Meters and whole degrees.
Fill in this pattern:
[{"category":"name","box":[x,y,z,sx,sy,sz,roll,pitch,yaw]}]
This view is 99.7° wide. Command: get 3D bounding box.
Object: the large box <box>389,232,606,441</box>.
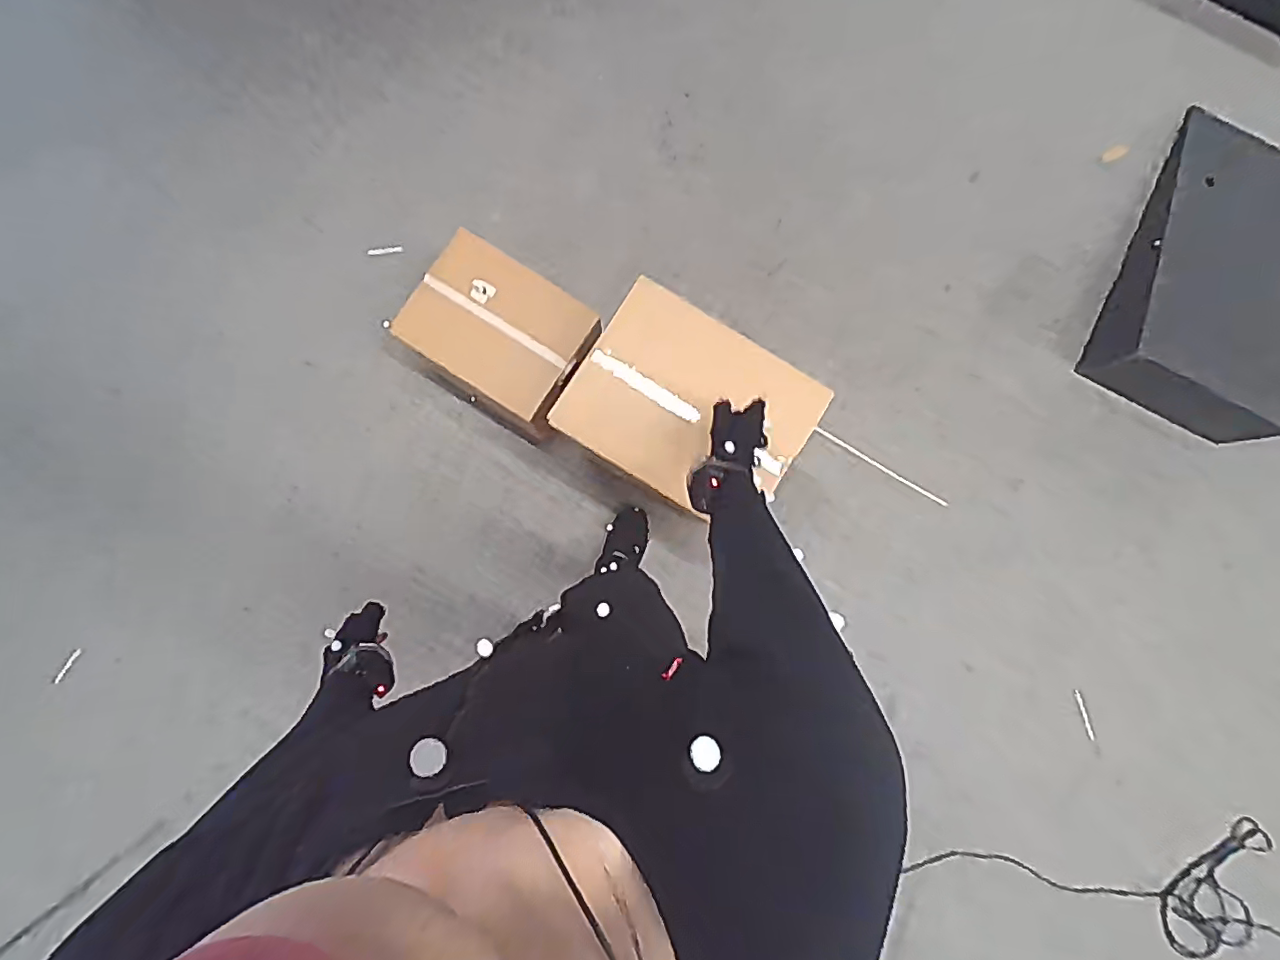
[{"category":"large box","box":[-0.340,-0.349,1.412,0.408,0.320,0.320,33,84,3]}]
